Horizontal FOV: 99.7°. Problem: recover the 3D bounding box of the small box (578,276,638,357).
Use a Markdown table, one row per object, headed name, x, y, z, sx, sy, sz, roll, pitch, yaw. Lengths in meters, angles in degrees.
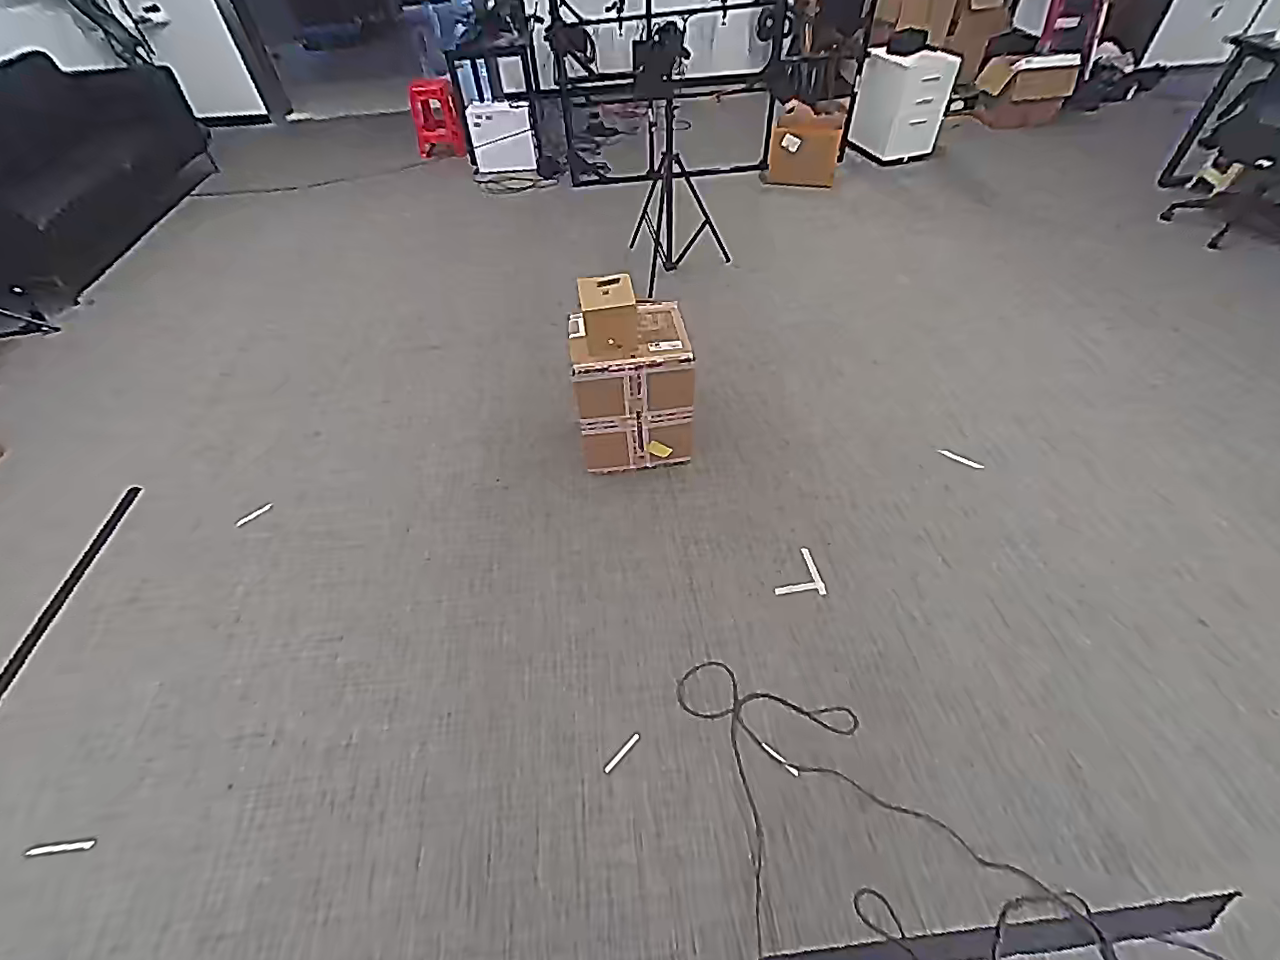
| name | x | y | z | sx | sy | sz | roll | pitch | yaw |
| --- | --- | --- | --- | --- | --- | --- | --- | --- | --- |
| small box | -0.100 | -0.517 | 1.713 | 0.168 | 0.176 | 0.179 | -9 | 52 | -3 |
